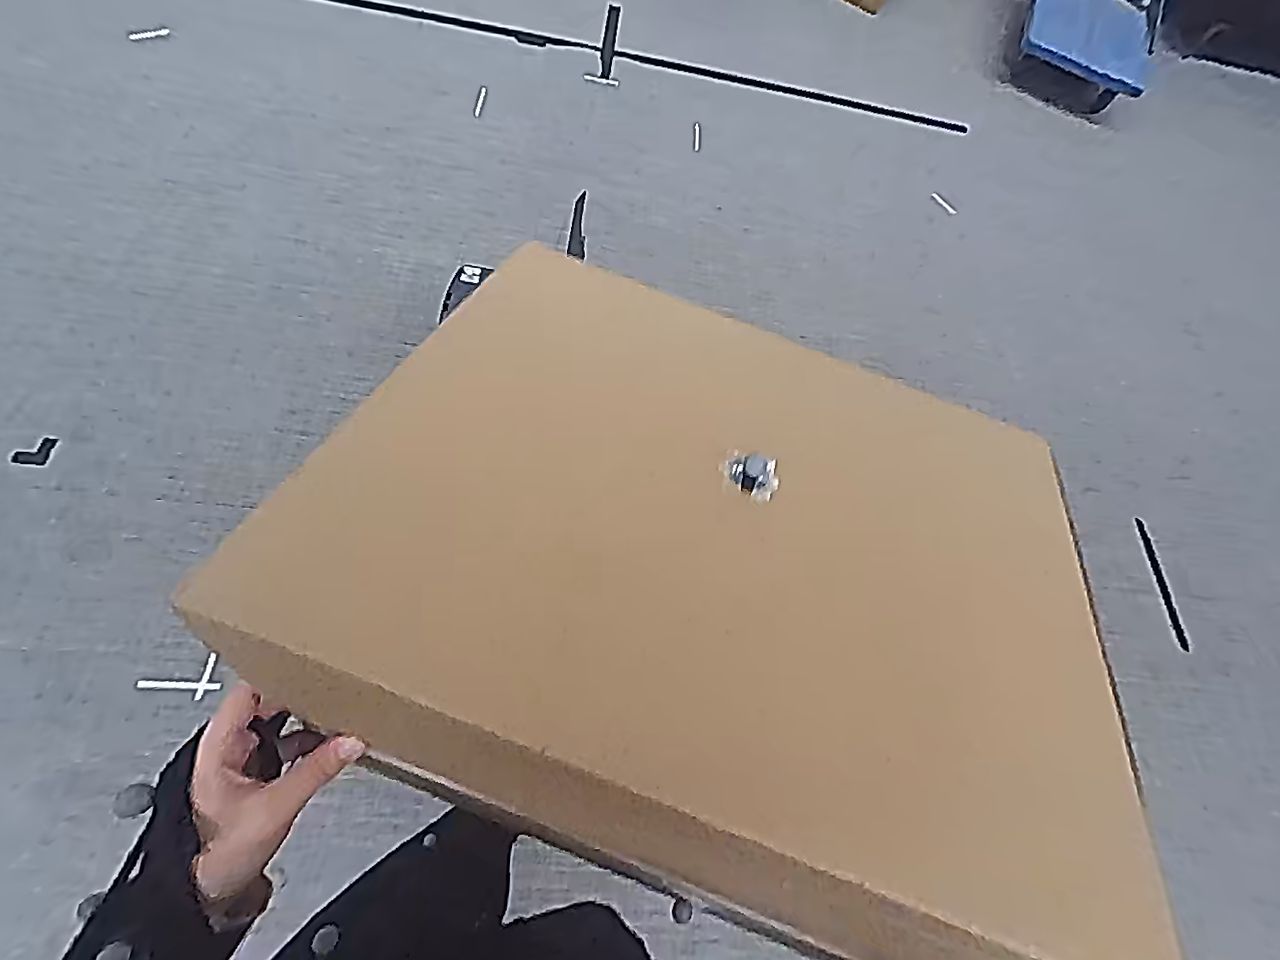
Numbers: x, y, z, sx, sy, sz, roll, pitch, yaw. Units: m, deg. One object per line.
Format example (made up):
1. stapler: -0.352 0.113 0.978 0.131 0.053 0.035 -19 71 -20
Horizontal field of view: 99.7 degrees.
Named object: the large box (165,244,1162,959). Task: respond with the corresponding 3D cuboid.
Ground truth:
1. large box: 0.014 0.084 0.408 0.408 0.320 0.320 20 53 2
